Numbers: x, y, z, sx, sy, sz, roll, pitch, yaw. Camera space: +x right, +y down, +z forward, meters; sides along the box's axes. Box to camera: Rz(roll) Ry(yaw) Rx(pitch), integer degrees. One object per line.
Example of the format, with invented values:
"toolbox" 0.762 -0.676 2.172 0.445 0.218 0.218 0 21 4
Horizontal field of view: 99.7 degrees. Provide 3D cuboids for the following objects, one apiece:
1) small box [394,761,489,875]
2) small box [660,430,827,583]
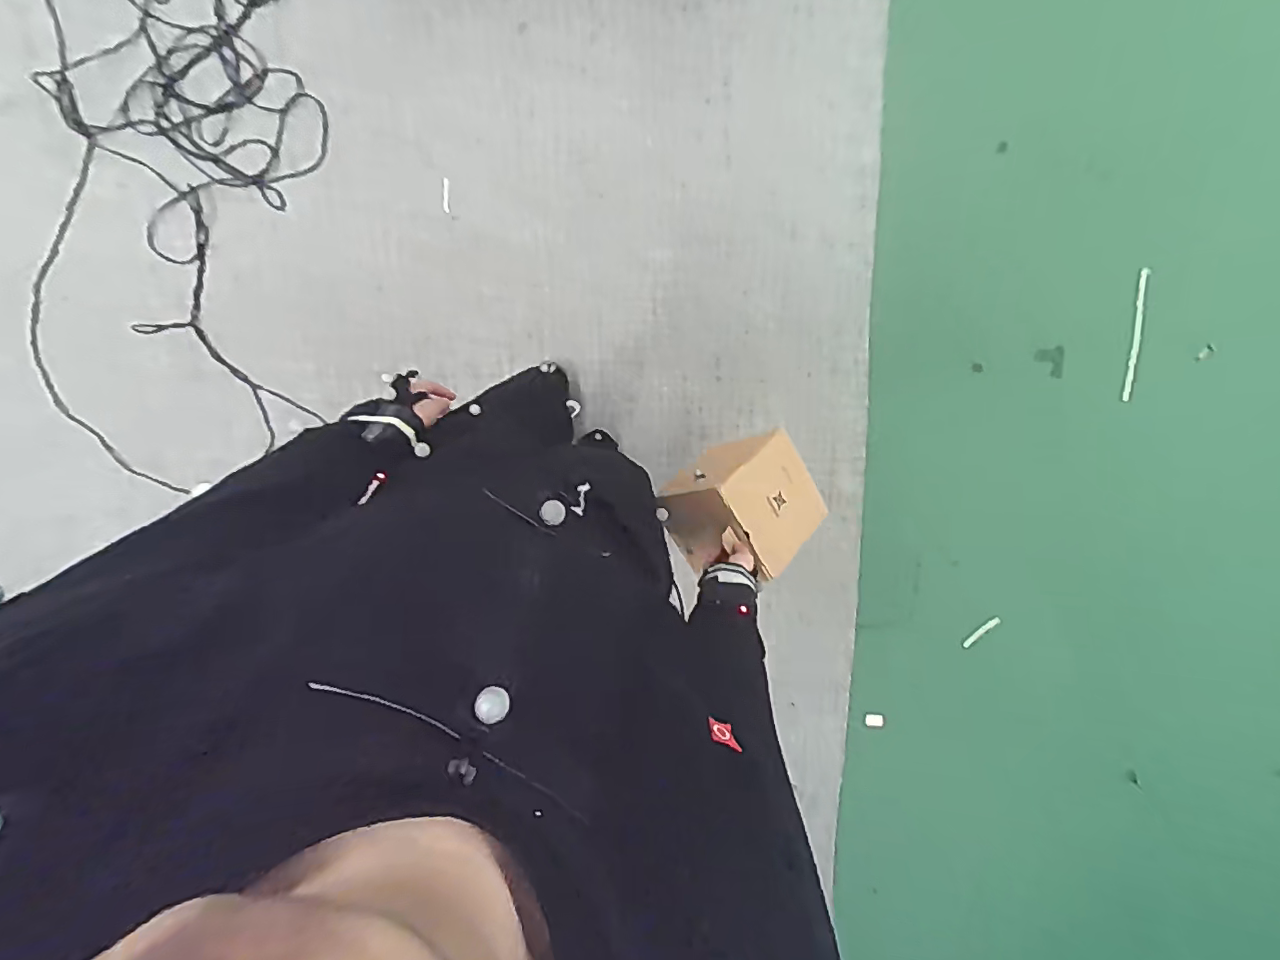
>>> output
"small box" -0.507 0.875 1.409 0.168 0.176 0.179 -11 99 1
"small box" 0.155 0.048 0.858 0.179 0.176 0.168 -40 105 -34
